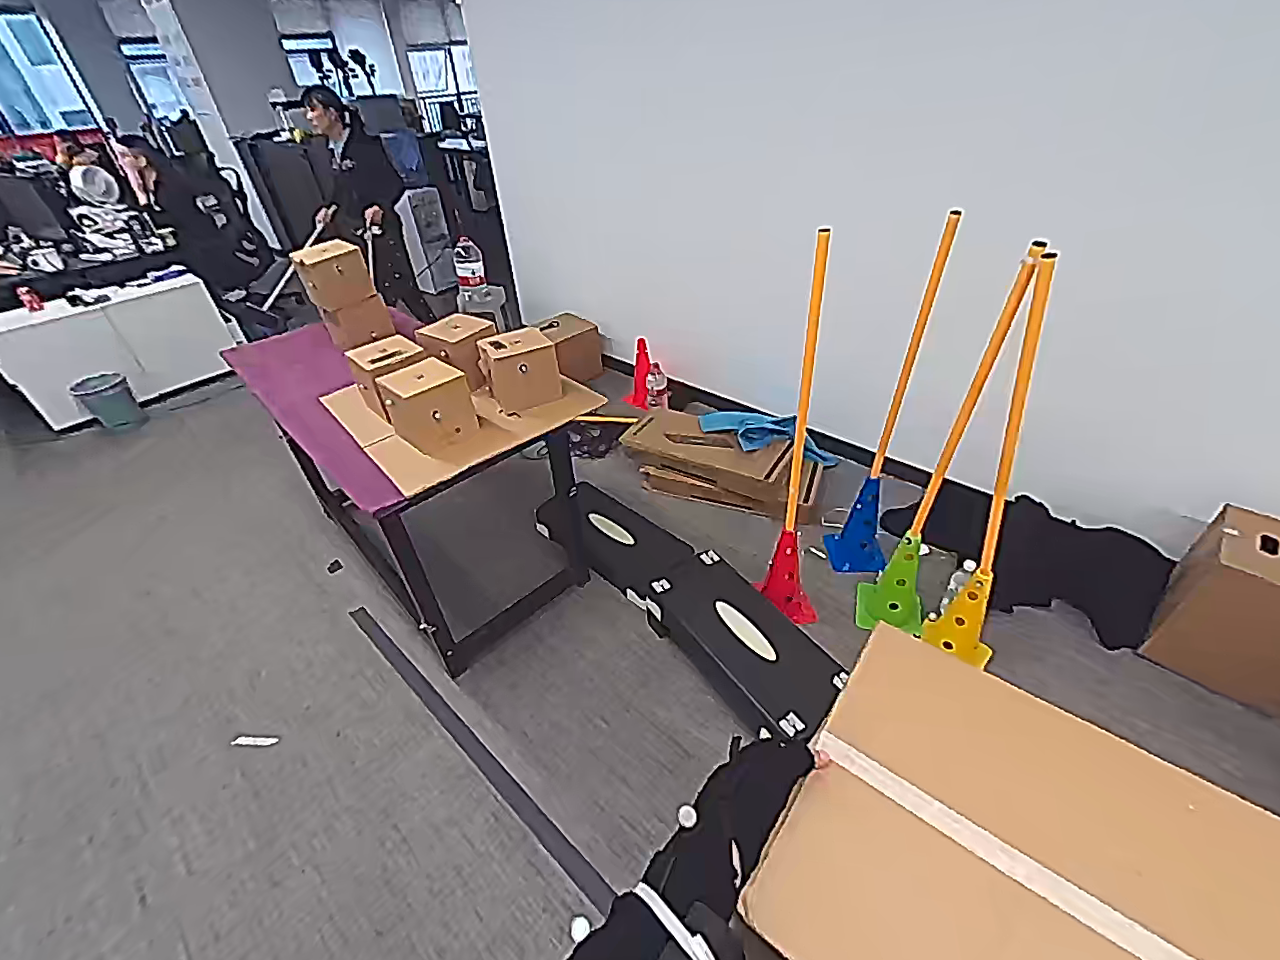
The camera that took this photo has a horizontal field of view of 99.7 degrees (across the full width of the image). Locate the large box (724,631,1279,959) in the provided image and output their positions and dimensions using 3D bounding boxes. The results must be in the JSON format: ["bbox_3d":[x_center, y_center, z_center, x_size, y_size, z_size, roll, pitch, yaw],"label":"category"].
[{"bbox_3d":[0.332,0.430,0.517,0.408,0.320,0.320,26,52,29],"label":"large box"}]
